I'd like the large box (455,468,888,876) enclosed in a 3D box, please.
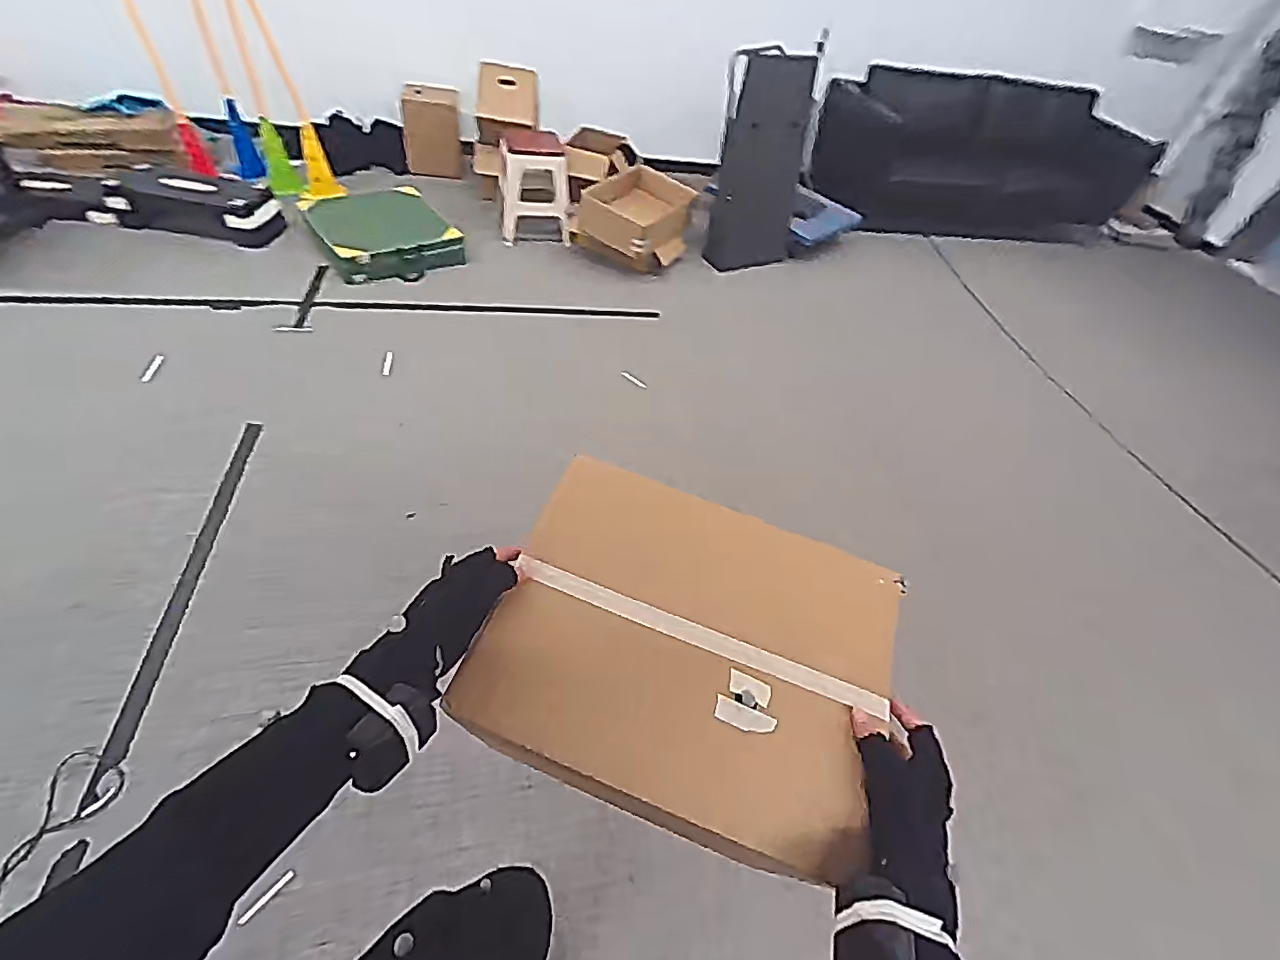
[{"bbox_3d":[0.038,0.245,0.699,0.408,0.320,0.320,21,59,5],"label":"large box"}]
